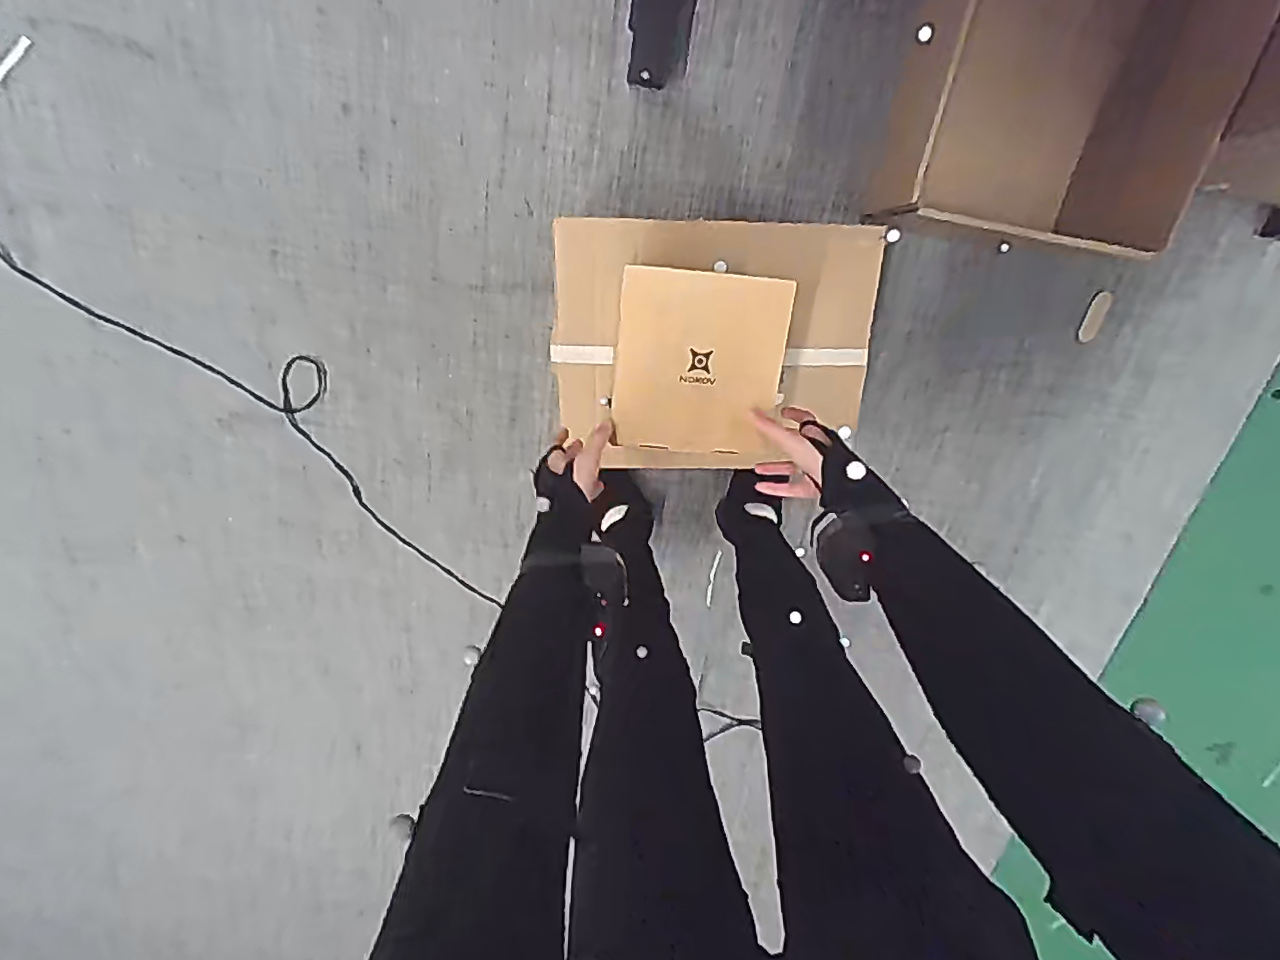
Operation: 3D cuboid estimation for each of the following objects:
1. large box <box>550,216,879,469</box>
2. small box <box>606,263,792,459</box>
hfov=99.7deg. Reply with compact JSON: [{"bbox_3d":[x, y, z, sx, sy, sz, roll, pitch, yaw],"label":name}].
[{"bbox_3d":[0.082,-0.213,0.830,0.408,0.320,0.320,0,111,-4],"label":"large box"},{"bbox_3d":[0.050,-0.135,0.596,0.168,0.176,0.179,4,109,-4],"label":"small box"}]
